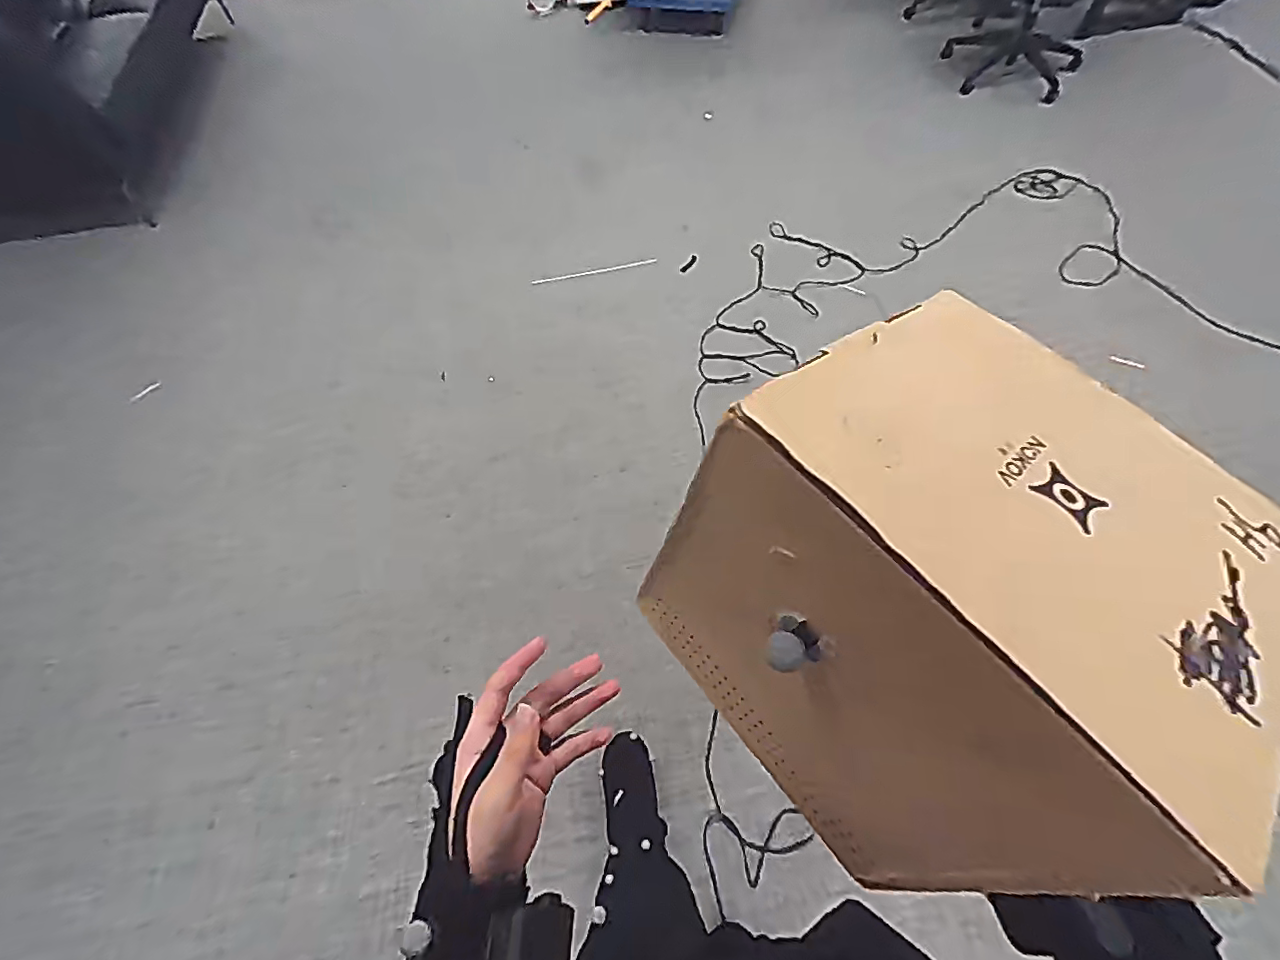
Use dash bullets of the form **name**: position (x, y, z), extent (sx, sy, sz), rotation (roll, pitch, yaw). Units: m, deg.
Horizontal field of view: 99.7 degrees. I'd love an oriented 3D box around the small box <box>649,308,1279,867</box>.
- **small box**: position (0.126, 0.052, 0.265), extent (0.168, 0.176, 0.179), rotation (-30, 65, -31)
